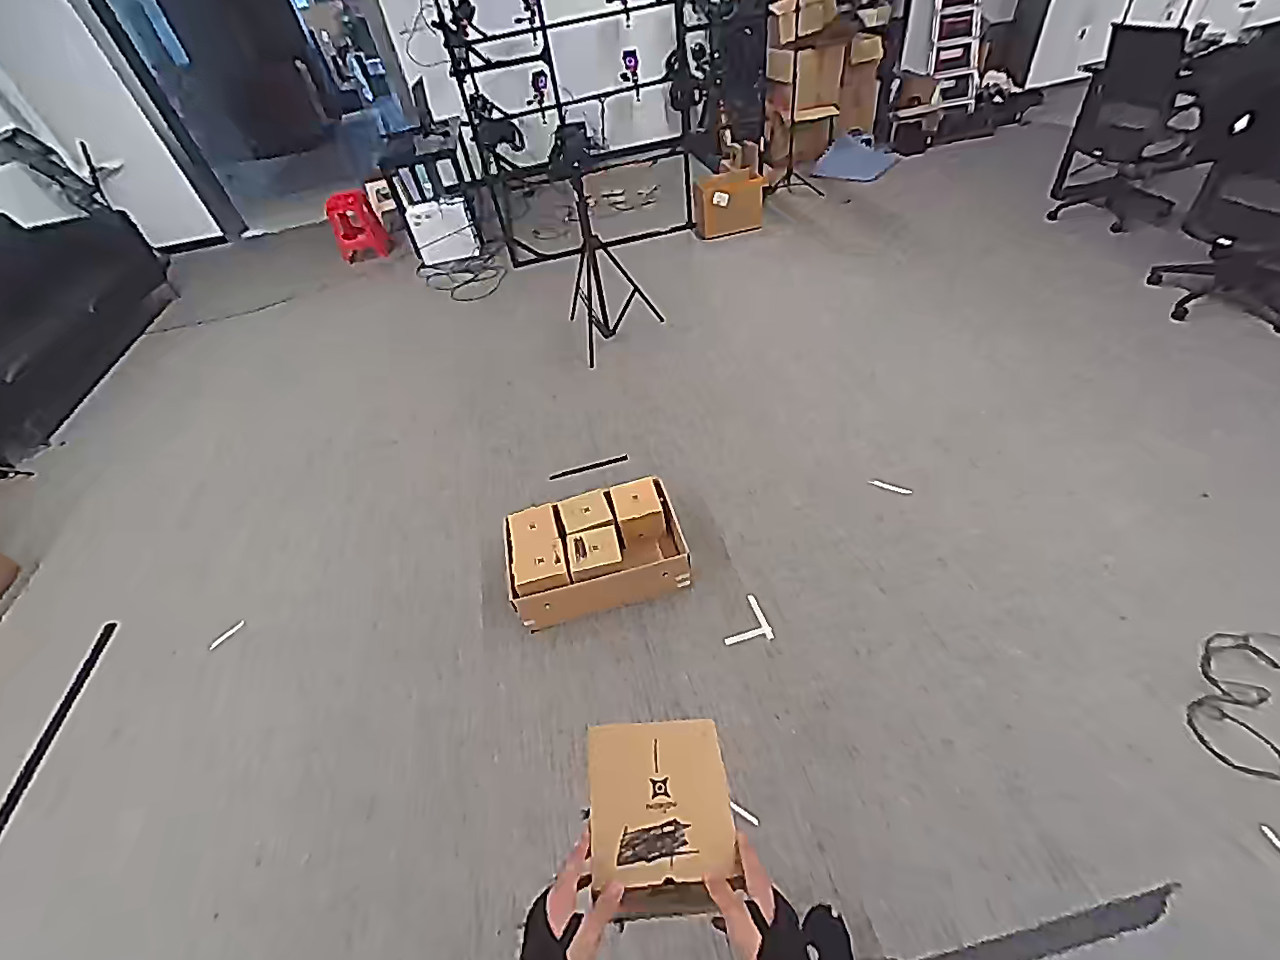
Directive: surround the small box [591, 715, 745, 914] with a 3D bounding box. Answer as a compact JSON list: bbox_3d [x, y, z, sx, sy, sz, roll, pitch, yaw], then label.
[{"bbox_3d":[0.022,0.421,0.680,0.168,0.176,0.179,-1,42,-6],"label":"small box"}]
